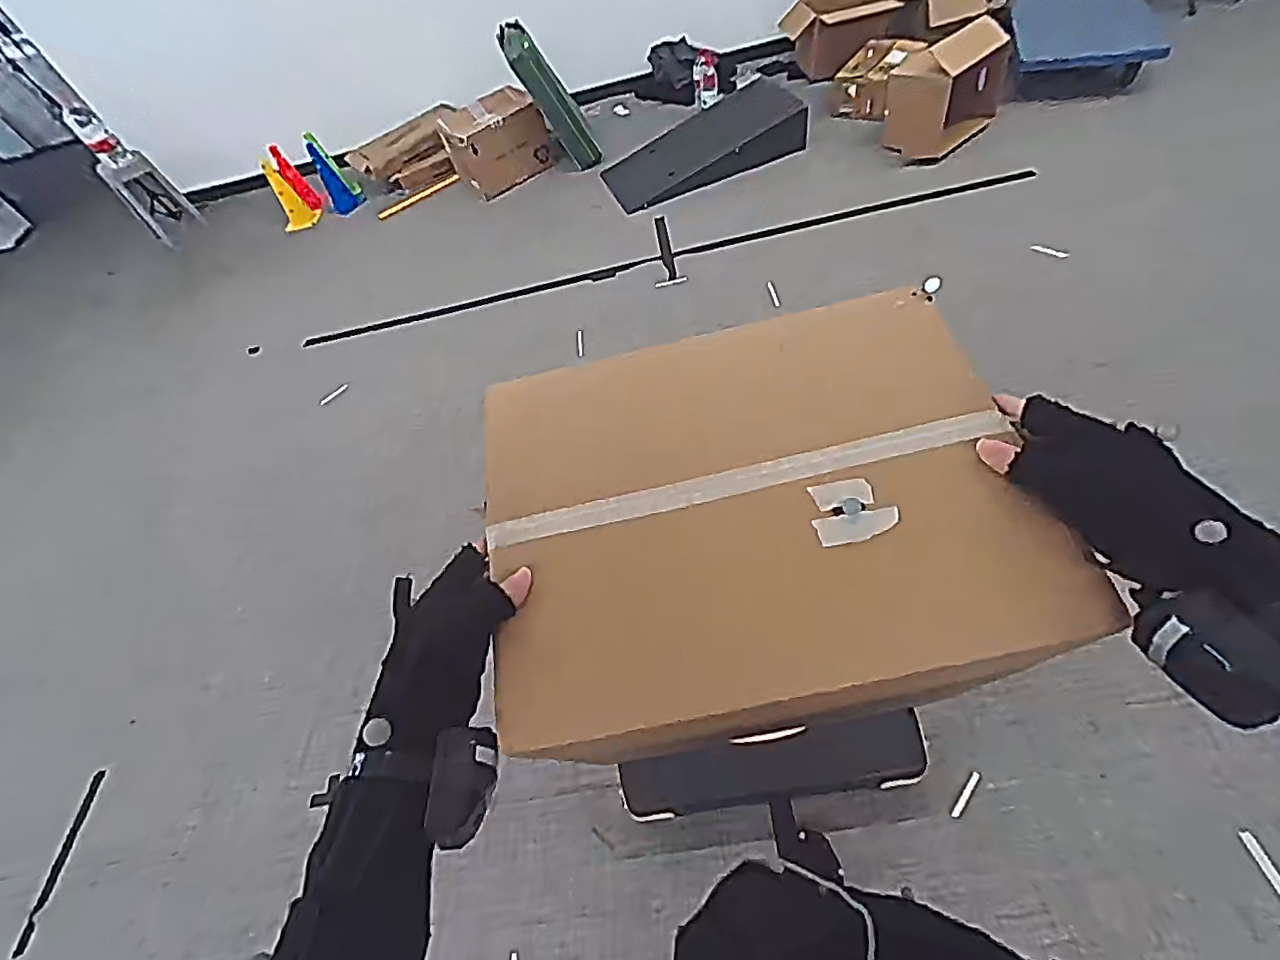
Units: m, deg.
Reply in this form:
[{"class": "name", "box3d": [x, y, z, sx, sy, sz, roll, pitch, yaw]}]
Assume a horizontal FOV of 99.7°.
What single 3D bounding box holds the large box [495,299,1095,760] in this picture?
[{"class": "large box", "box3d": [0.102, 0.077, 0.562, 0.408, 0.320, 0.320, -13, 61, 3]}]
